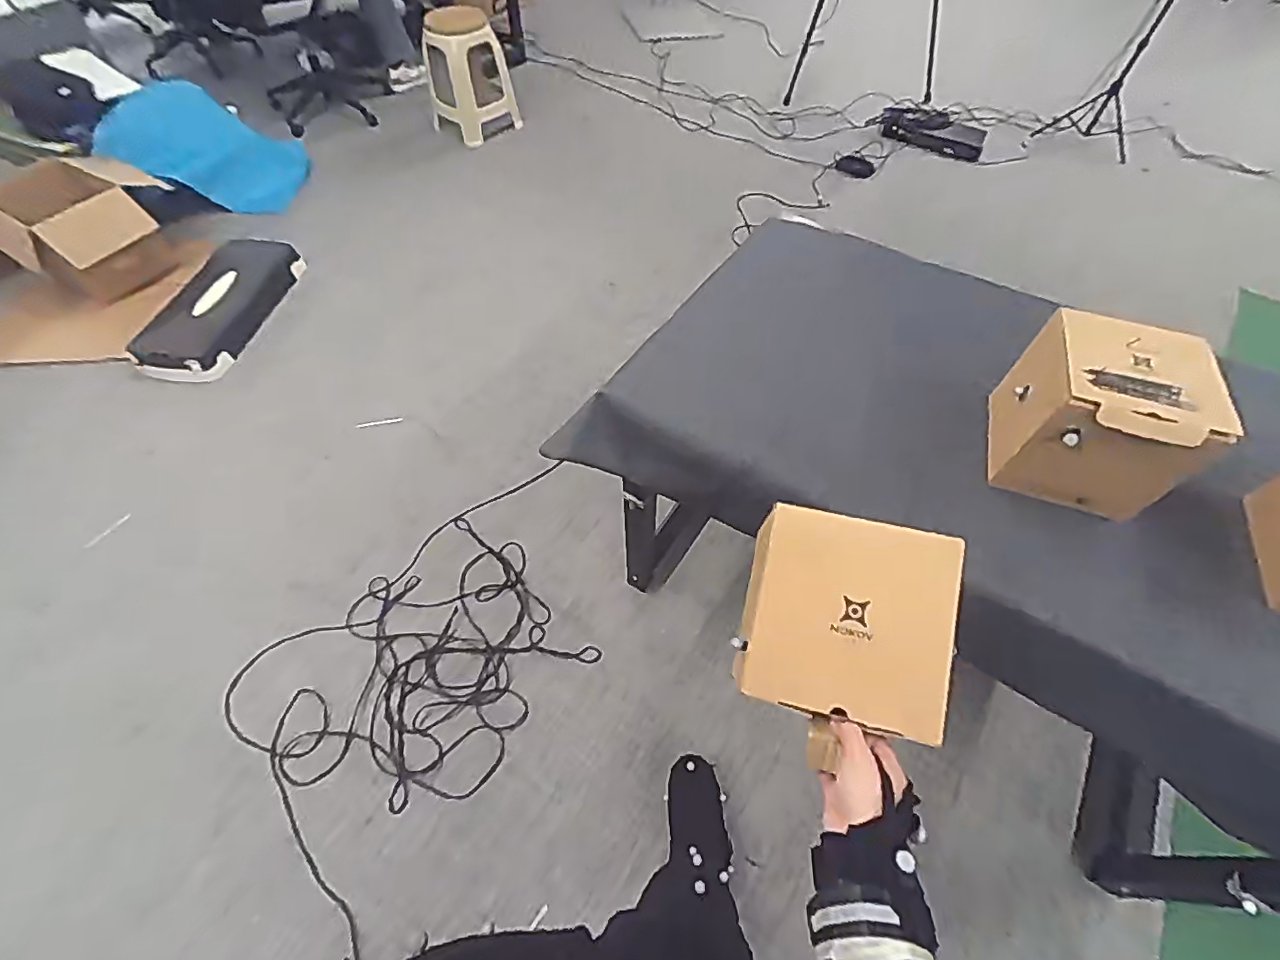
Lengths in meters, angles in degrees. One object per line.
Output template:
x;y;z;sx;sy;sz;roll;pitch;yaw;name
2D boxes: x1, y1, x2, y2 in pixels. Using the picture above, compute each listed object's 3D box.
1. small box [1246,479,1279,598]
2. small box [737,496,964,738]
0.836;0.070;0.585;0.168;0.176;0.179;20;57;12;small box
0.195;0.131;0.545;0.168;0.176;0.179;11;78;9;small box
